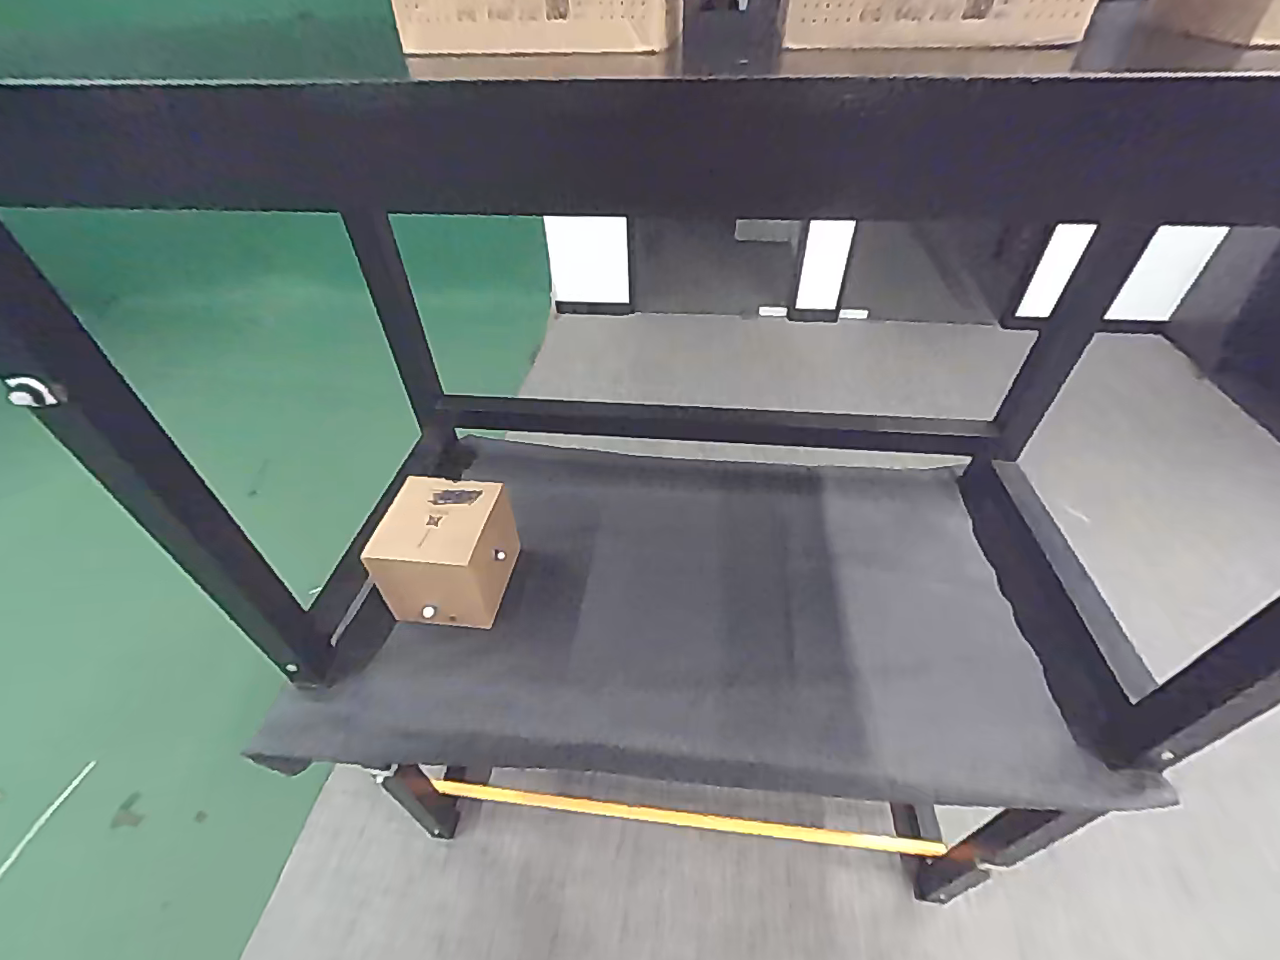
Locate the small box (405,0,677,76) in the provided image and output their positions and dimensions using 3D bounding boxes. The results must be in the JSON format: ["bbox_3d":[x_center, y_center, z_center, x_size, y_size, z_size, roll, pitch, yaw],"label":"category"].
[{"bbox_3d":[-0.060,-0.379,0.358,0.168,0.176,0.179,4,42,6],"label":"small box"}]

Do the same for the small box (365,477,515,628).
[{"bbox_3d":[-0.314,0.119,0.897,0.168,0.176,0.179,4,43,5],"label":"small box"}]

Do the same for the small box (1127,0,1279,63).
[{"bbox_3d":[0.419,-0.327,0.285,0.168,0.176,0.179,12,44,14],"label":"small box"}]
